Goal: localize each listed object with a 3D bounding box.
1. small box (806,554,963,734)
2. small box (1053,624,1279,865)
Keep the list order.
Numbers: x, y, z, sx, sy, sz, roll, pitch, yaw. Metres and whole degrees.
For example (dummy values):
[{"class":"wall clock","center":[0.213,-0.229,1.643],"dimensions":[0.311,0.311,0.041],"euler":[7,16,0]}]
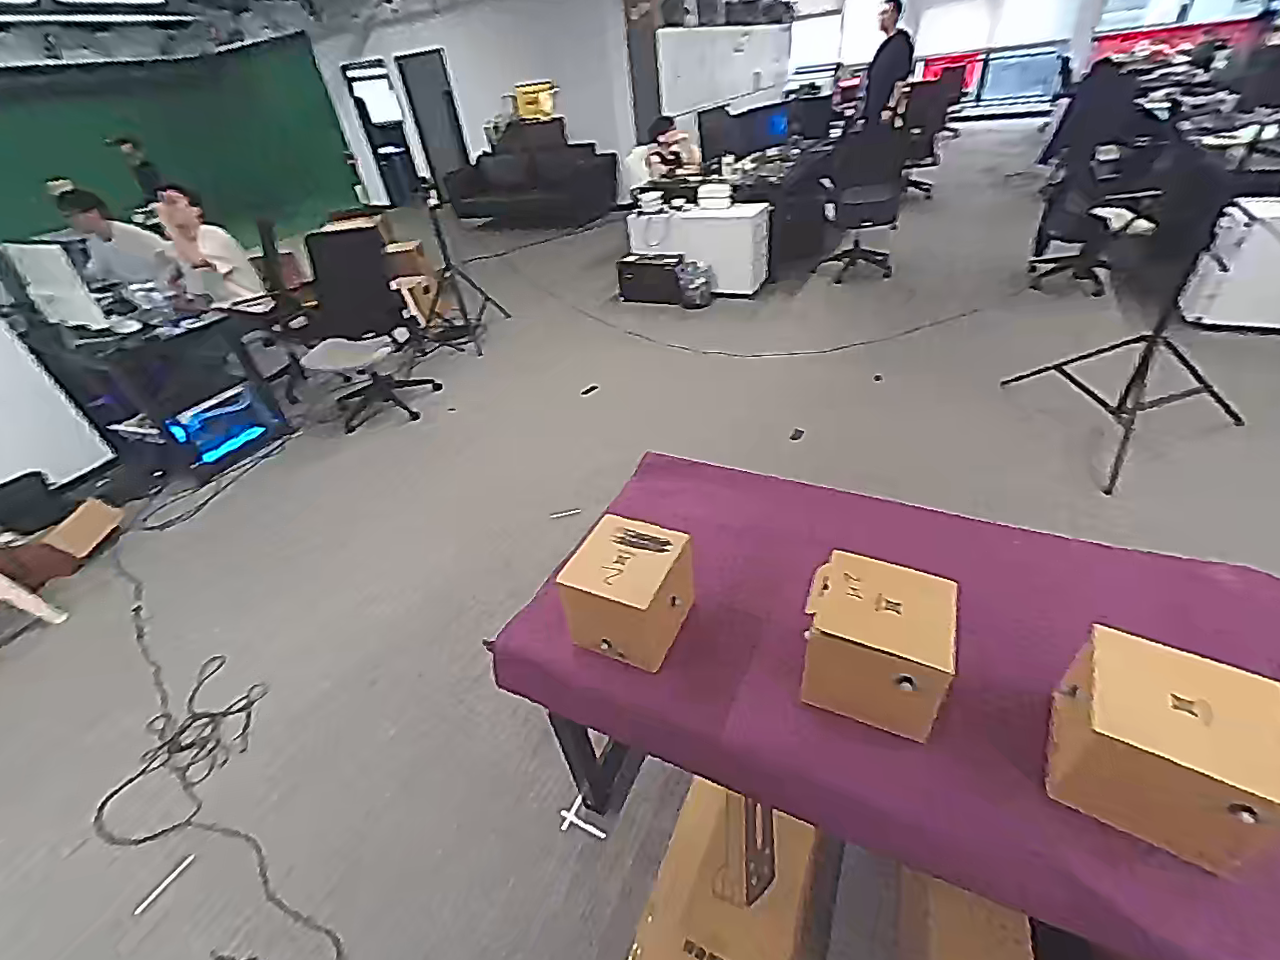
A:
[{"class":"small box","center":[0.354,0.240,0.795],"dimensions":[0.179,0.176,0.168],"euler":[11,39,24]},{"class":"small box","center":[0.628,0.313,0.649],"dimensions":[0.179,0.176,0.168],"euler":[17,44,29]}]
